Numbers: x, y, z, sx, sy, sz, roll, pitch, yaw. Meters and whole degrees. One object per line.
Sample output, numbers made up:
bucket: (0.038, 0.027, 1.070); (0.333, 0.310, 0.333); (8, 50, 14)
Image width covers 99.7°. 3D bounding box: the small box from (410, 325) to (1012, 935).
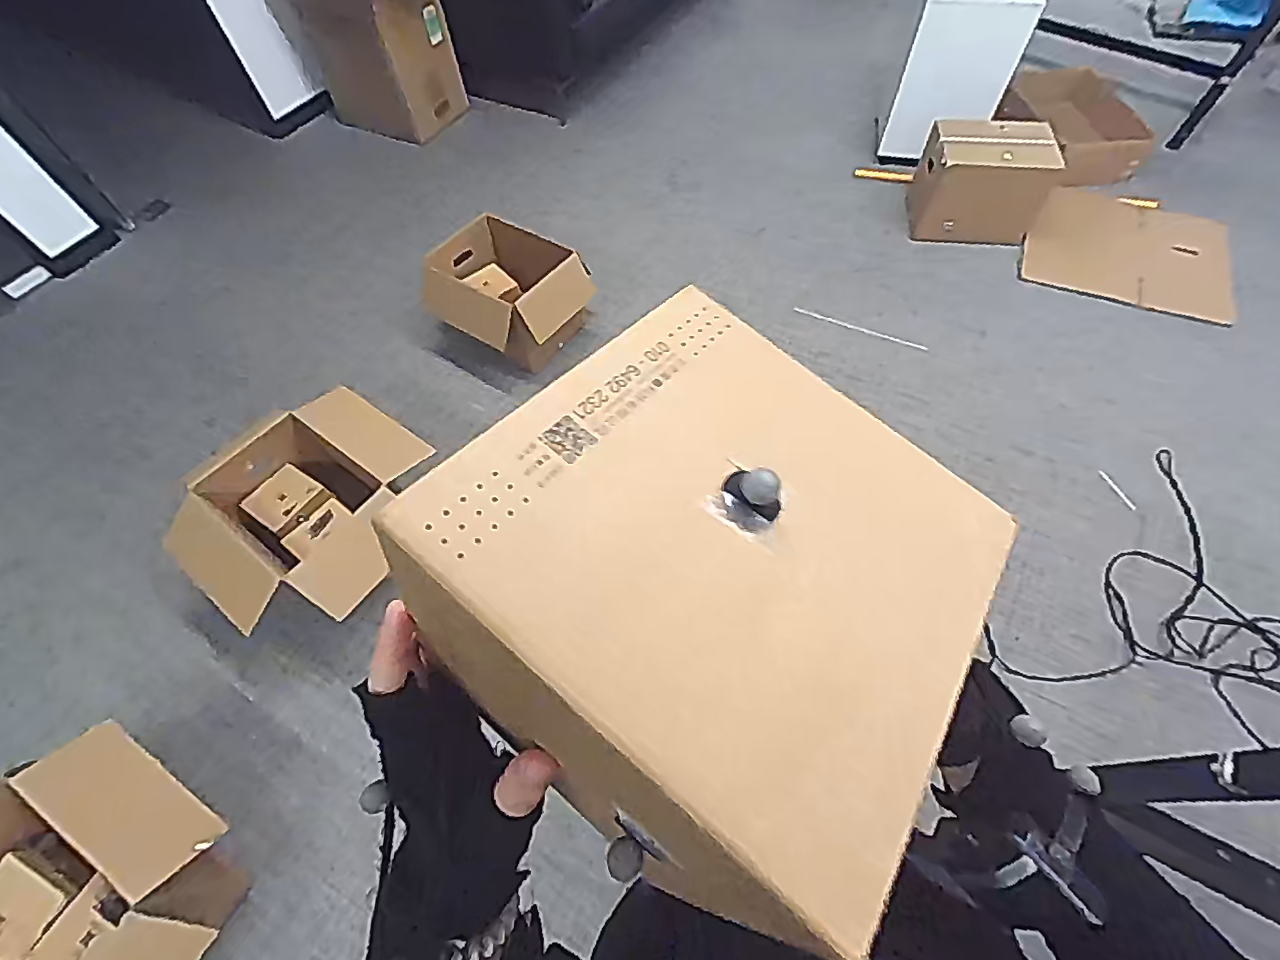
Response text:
small box: (0.018, 0.054, 0.251); (0.176, 0.179, 0.168); (39, 56, 11)
